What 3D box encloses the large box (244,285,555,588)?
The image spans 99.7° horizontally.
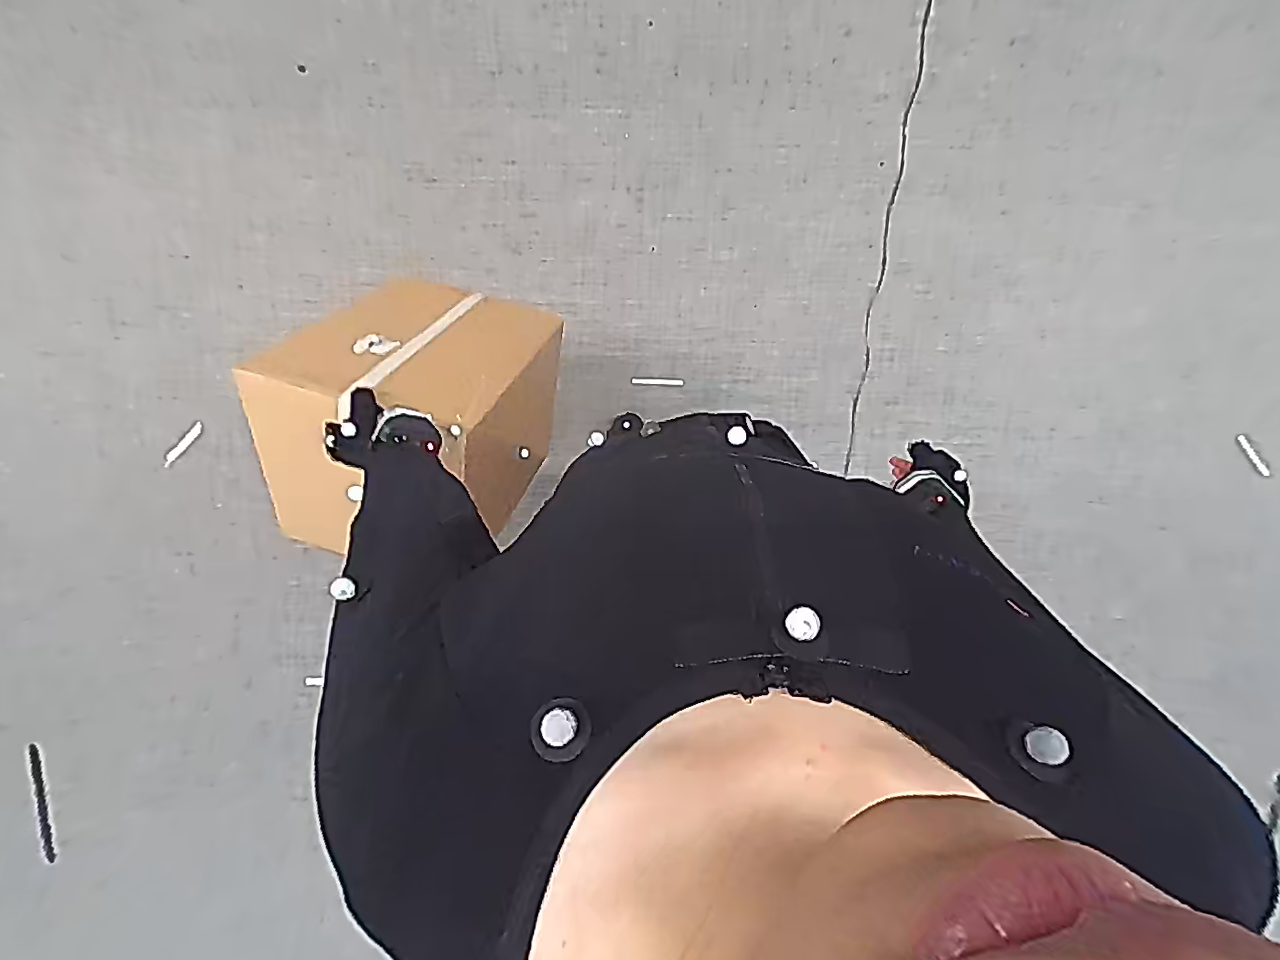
[{"bbox_3d":[-0.367,-0.091,0.945,0.320,0.408,0.320,16,129,2],"label":"large box"}]
